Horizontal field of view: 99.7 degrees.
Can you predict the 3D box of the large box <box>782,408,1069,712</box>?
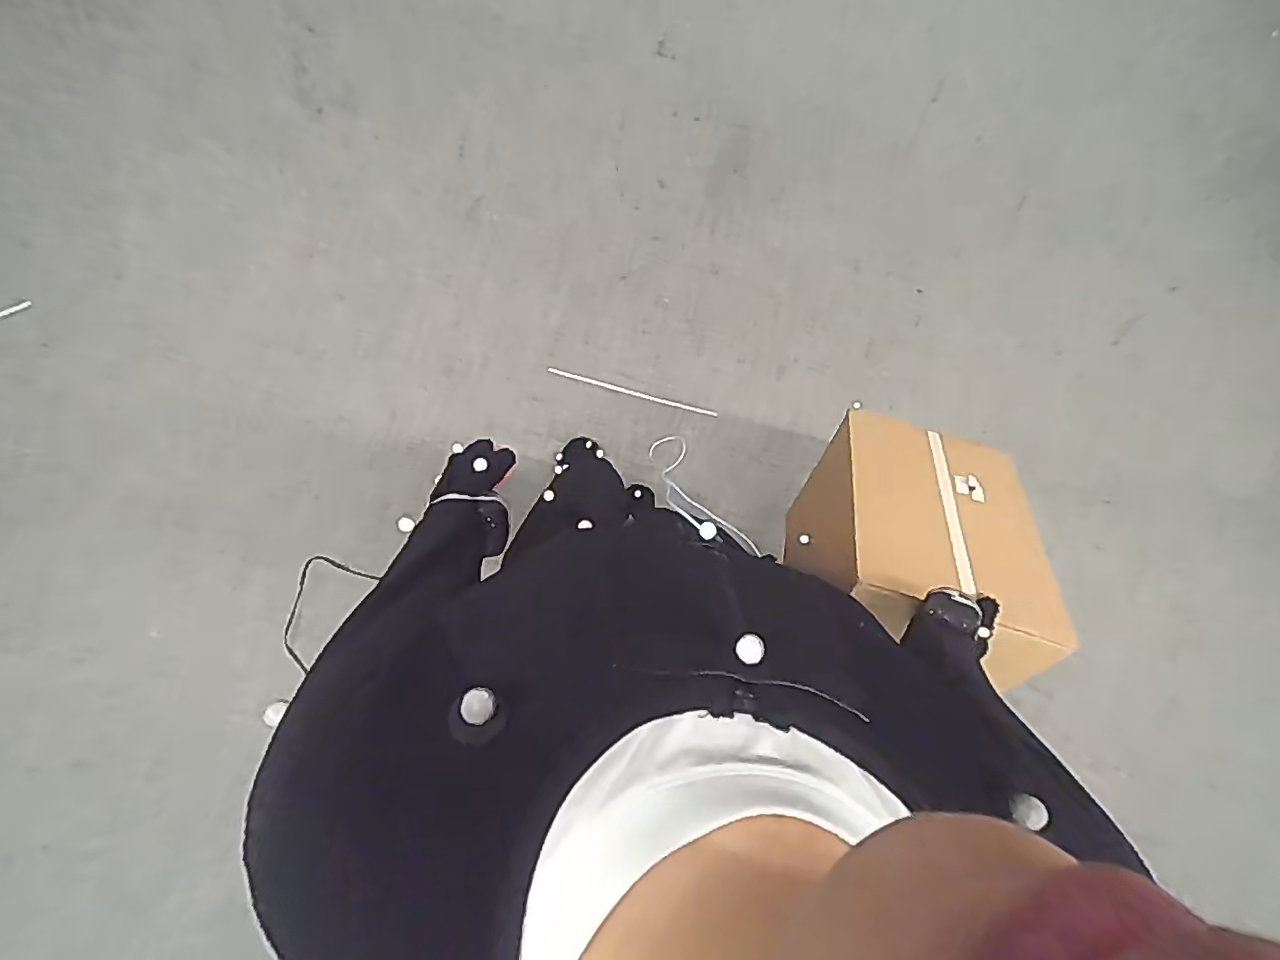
[{"bbox_3d":[0.466,0.142,0.991,0.320,0.320,0.408,18,46,2],"label":"large box"}]
